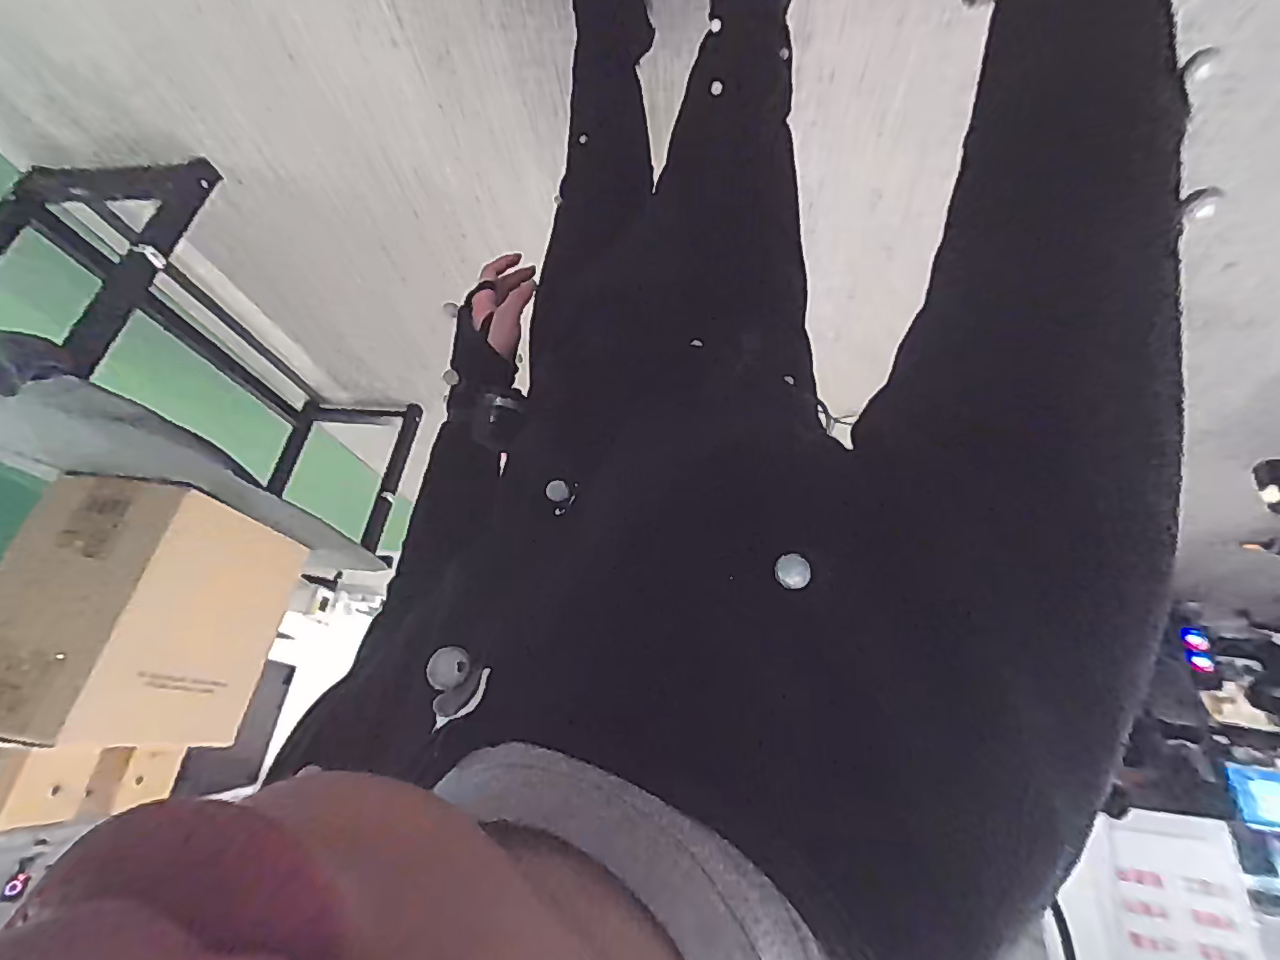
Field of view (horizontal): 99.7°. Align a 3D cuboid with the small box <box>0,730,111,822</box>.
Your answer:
[{"bbox_3d":[-1.432,0.691,1.279,0.168,0.176,0.179,2,156,4],"label":"small box"}]

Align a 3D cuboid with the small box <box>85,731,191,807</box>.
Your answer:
[{"bbox_3d":[-1.412,0.800,1.510,0.179,0.176,0.168,2,153,6],"label":"small box"}]
